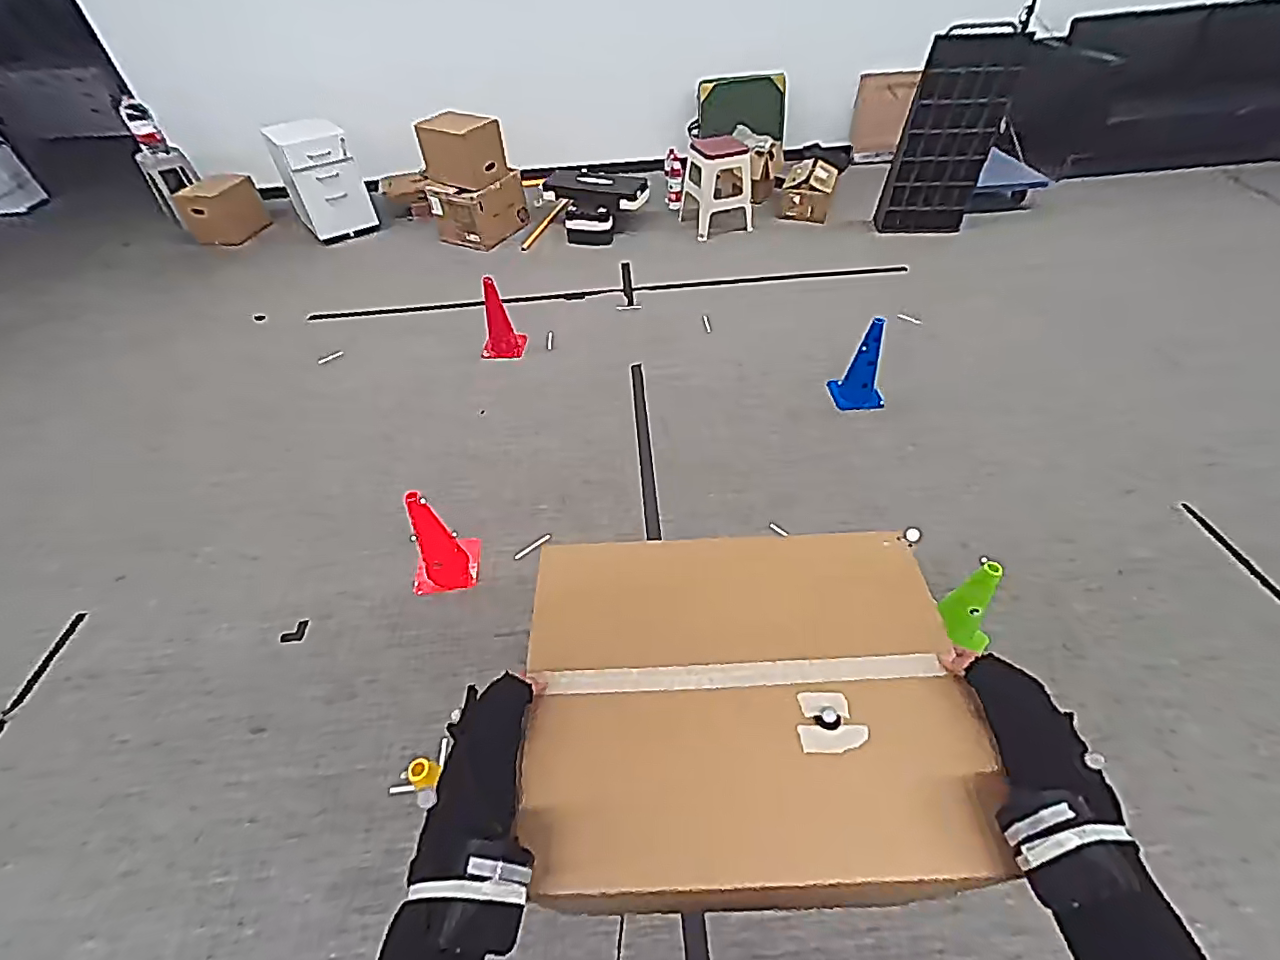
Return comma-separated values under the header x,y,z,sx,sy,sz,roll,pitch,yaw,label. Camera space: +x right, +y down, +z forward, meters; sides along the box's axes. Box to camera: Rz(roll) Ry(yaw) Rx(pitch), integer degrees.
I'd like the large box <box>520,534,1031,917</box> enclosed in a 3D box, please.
x,y,z,sx,sy,sz,roll,pitch,yaw,label
0.101,0.284,0.620,0.408,0.320,0.320,-2,49,0,large box

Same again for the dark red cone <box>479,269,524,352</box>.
x,y,z,sx,sy,sz,roll,pitch,yaw,label
-0.684,-0.795,2.543,0.201,0.394,0.202,0,47,2,dark red cone

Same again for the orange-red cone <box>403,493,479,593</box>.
x,y,z,sx,sy,sz,roll,pitch,yaw,label
-0.646,0.169,1.671,0.198,0.360,0.199,-8,48,-3,orange-red cone

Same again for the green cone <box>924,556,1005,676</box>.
x,y,z,sx,sy,sz,roll,pitch,yaw,label
0.865,0.325,1.435,0.202,0.368,0.200,-34,55,-27,green cone

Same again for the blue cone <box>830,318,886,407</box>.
x,y,z,sx,sy,sz,roll,pitch,yaw,label
0.925,-0.490,2.218,0.192,0.380,0.193,-2,47,0,blue cone
